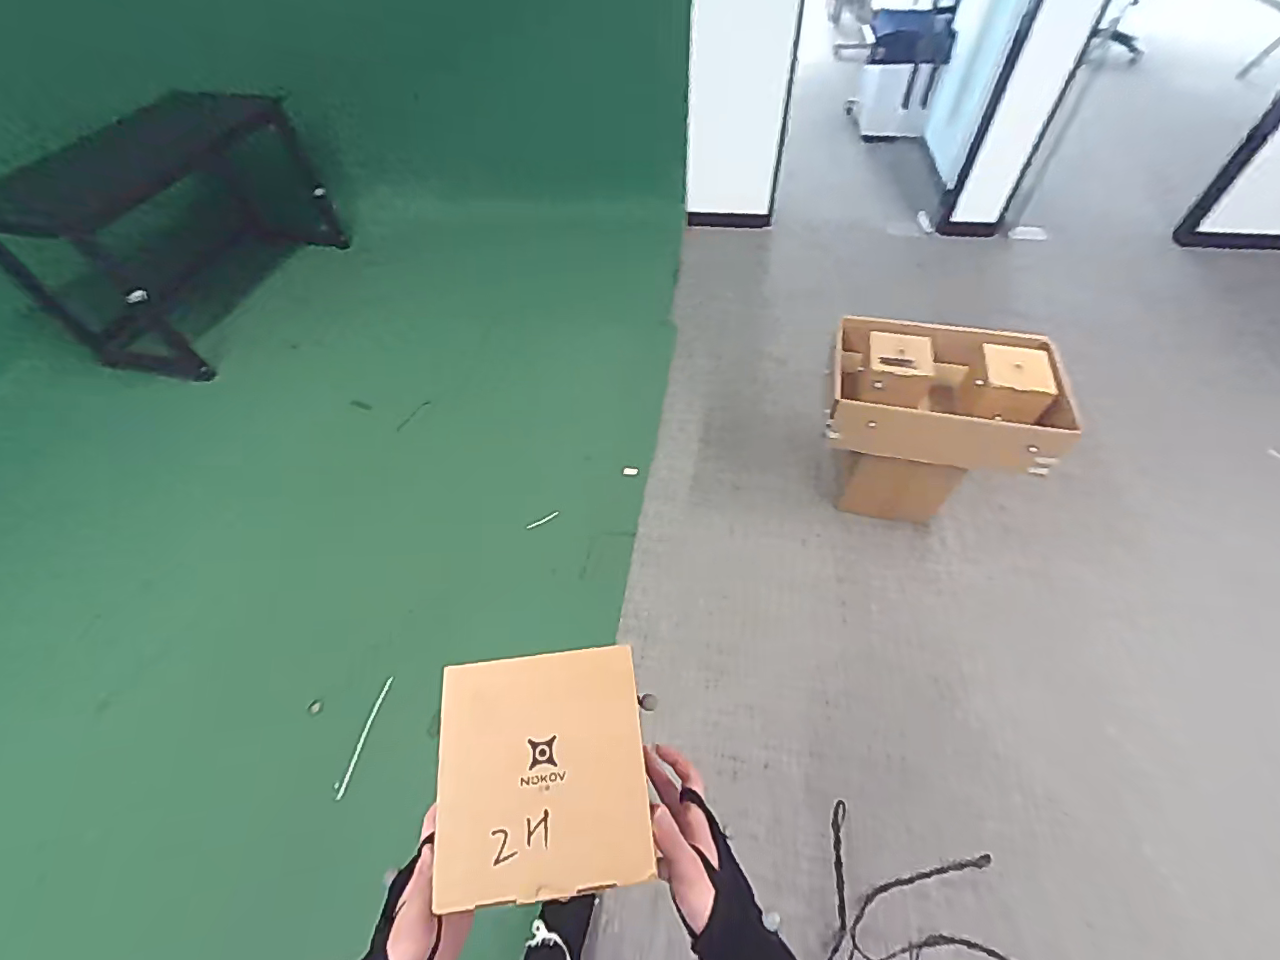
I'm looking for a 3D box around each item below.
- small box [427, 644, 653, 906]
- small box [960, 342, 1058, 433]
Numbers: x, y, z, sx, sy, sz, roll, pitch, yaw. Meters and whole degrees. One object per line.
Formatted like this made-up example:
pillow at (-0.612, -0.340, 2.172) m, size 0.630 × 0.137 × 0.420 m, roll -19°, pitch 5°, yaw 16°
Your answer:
small box at (-0.079, 0.267, 0.502) m, size 0.168 × 0.176 × 0.179 m, roll -6°, pitch 59°, yaw -2°
small box at (1.038, -0.263, 1.539) m, size 0.168 × 0.176 × 0.179 m, roll 10°, pitch 55°, yaw 10°
